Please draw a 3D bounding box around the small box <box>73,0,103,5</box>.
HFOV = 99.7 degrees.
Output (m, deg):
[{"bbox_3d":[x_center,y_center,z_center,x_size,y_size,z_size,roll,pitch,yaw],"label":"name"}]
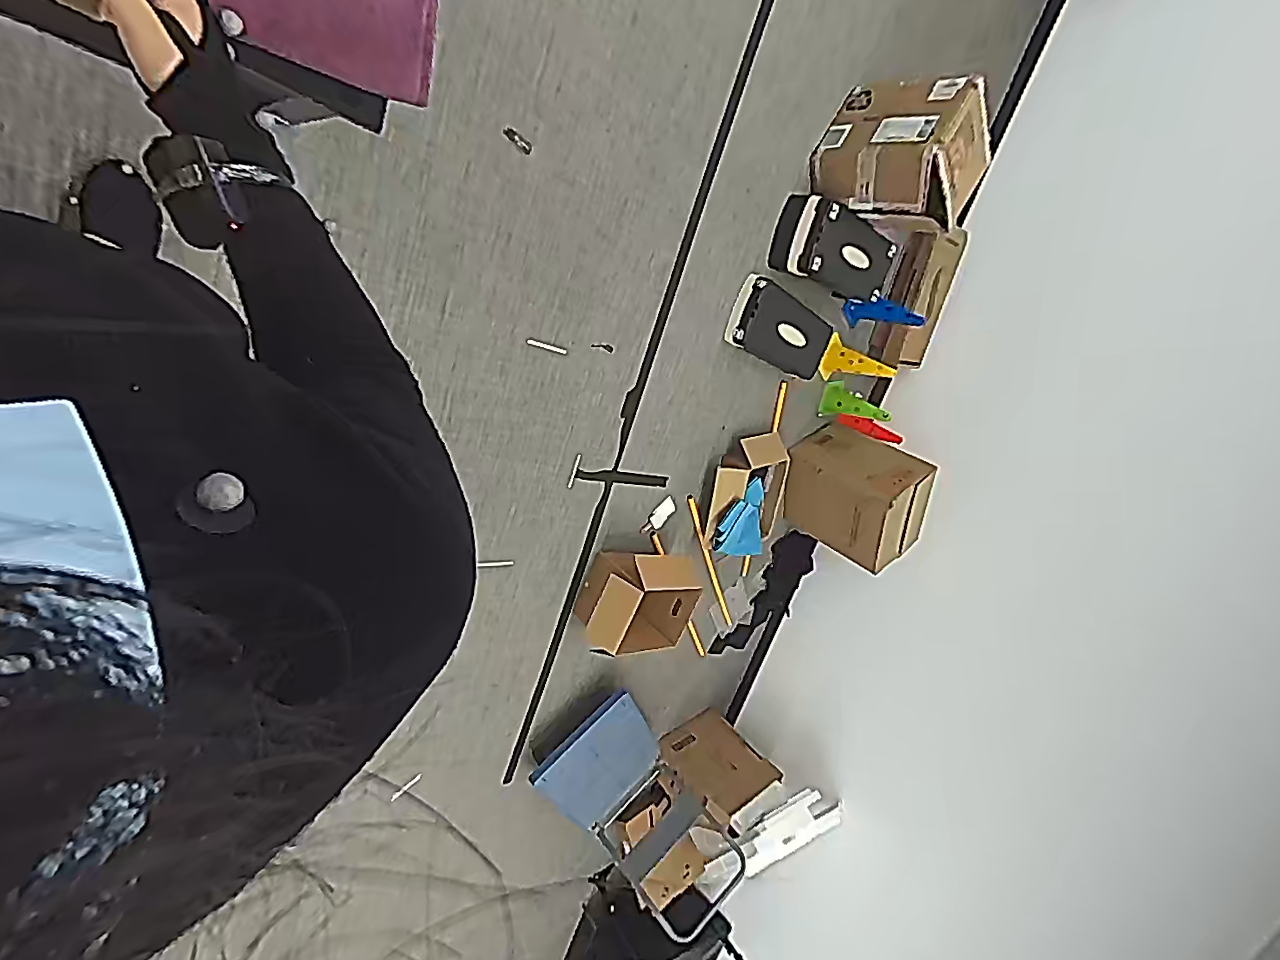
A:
[{"bbox_3d":[-0.434,-0.444,0.329,0.168,0.176,0.179,5,110,-46],"label":"small box"}]
